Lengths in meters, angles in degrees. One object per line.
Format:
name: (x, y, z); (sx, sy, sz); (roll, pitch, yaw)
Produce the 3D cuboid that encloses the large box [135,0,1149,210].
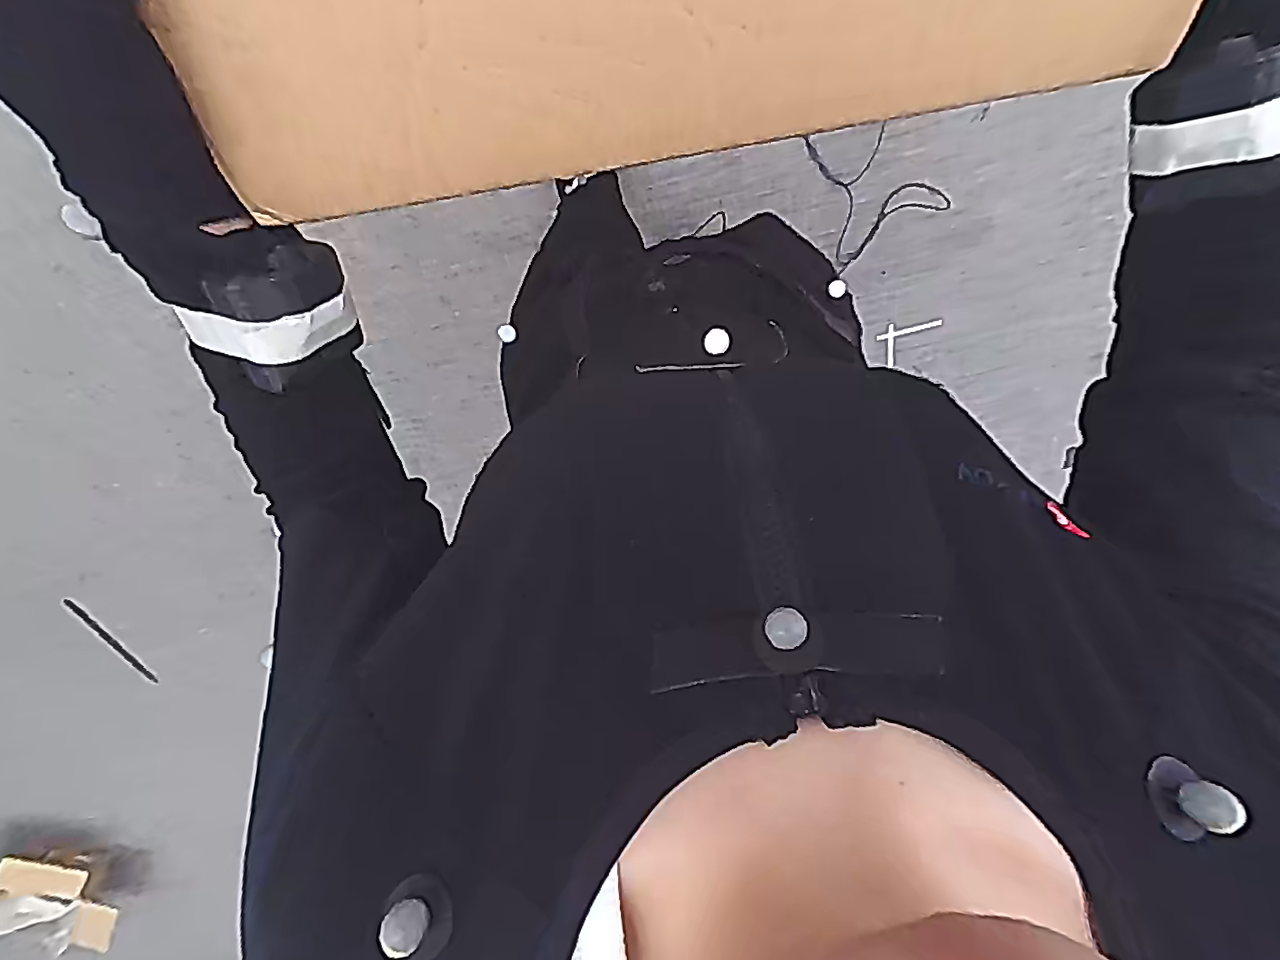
large box: (-0.011, -0.368, 0.229); (0.408, 0.320, 0.320); (-9, 138, 2)
